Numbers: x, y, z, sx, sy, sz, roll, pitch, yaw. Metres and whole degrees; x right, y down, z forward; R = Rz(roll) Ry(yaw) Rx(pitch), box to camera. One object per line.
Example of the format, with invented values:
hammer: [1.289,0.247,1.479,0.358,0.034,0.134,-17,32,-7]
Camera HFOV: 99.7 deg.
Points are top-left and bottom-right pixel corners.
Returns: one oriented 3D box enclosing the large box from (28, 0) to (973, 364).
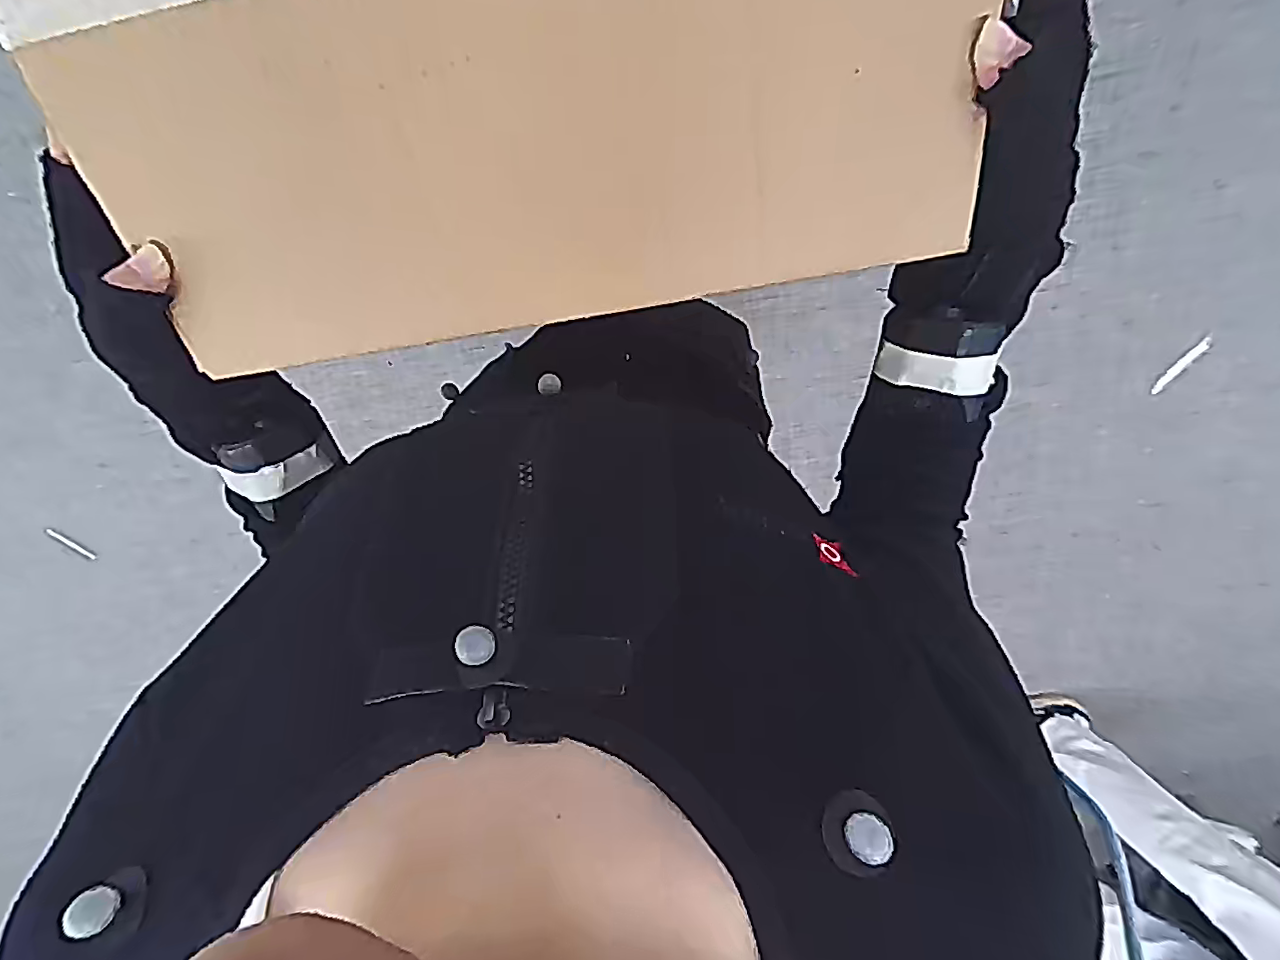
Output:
large box: [-0.065,-0.300,0.344,0.408,0.320,0.320,-8,121,5]
